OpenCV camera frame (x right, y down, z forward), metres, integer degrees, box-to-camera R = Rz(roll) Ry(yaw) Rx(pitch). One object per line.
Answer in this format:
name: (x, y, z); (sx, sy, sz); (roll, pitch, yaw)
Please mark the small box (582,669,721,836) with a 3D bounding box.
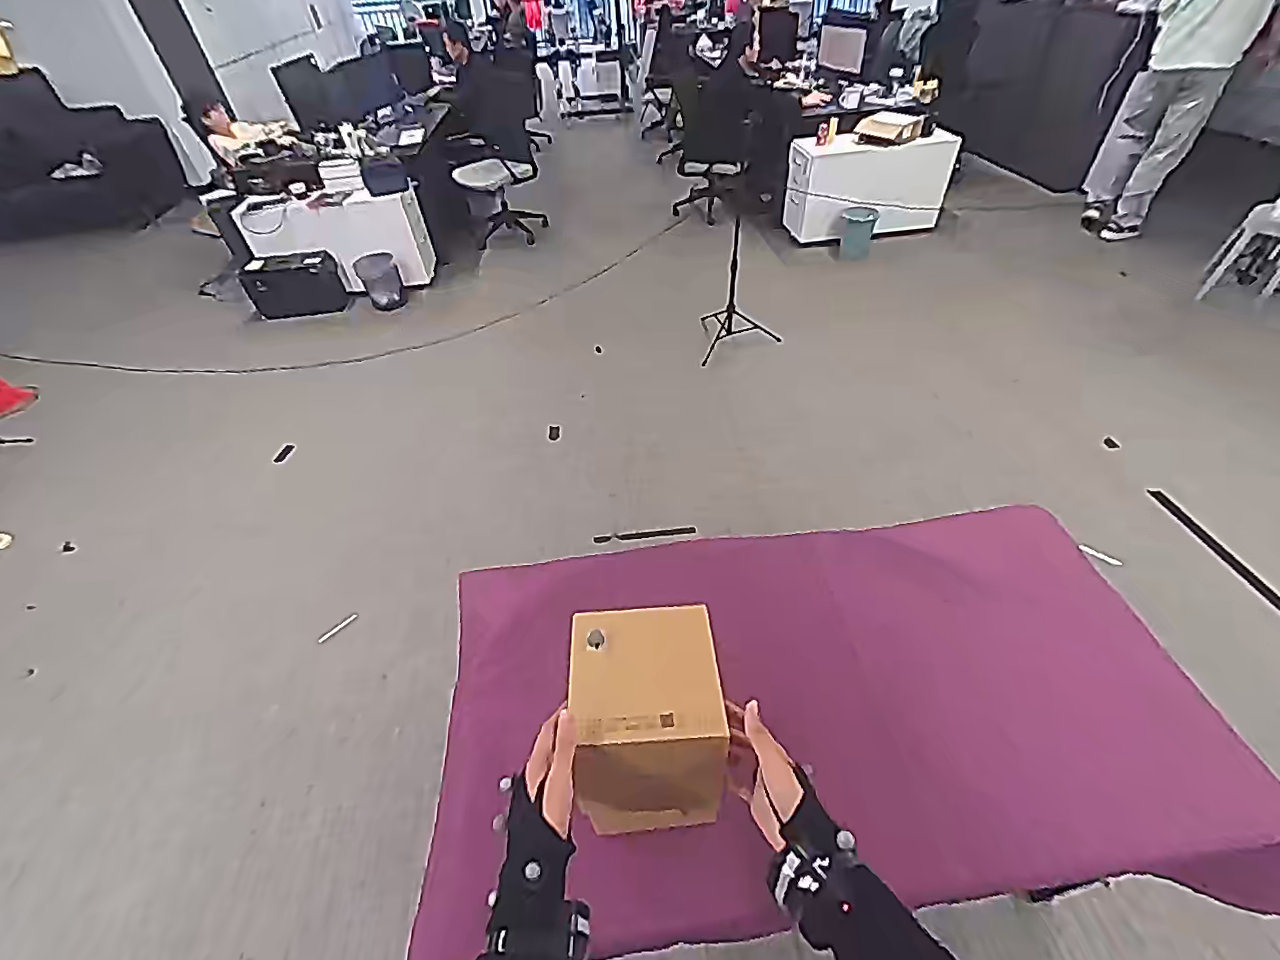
small box: (0.012, 0.394, 0.781); (0.179, 0.176, 0.168); (-6, 44, -1)
